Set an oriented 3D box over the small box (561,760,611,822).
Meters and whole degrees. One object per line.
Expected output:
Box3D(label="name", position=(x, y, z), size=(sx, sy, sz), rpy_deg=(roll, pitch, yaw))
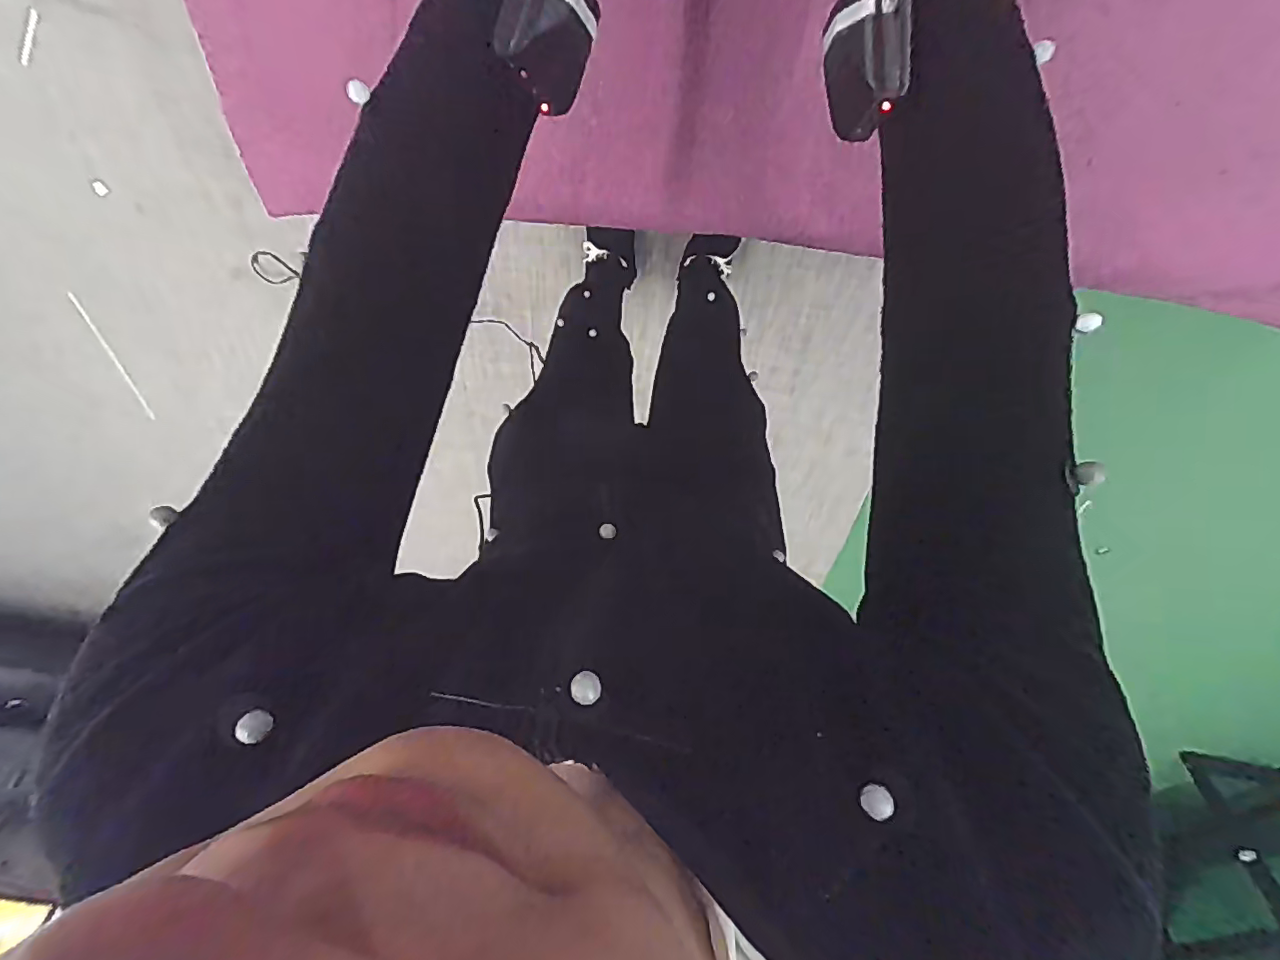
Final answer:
Box3D(label="small box", position=(-0.212, 1.234, 2.144), size=(0.168, 0.176, 0.179), rpy_deg=(7, 132, 4))
